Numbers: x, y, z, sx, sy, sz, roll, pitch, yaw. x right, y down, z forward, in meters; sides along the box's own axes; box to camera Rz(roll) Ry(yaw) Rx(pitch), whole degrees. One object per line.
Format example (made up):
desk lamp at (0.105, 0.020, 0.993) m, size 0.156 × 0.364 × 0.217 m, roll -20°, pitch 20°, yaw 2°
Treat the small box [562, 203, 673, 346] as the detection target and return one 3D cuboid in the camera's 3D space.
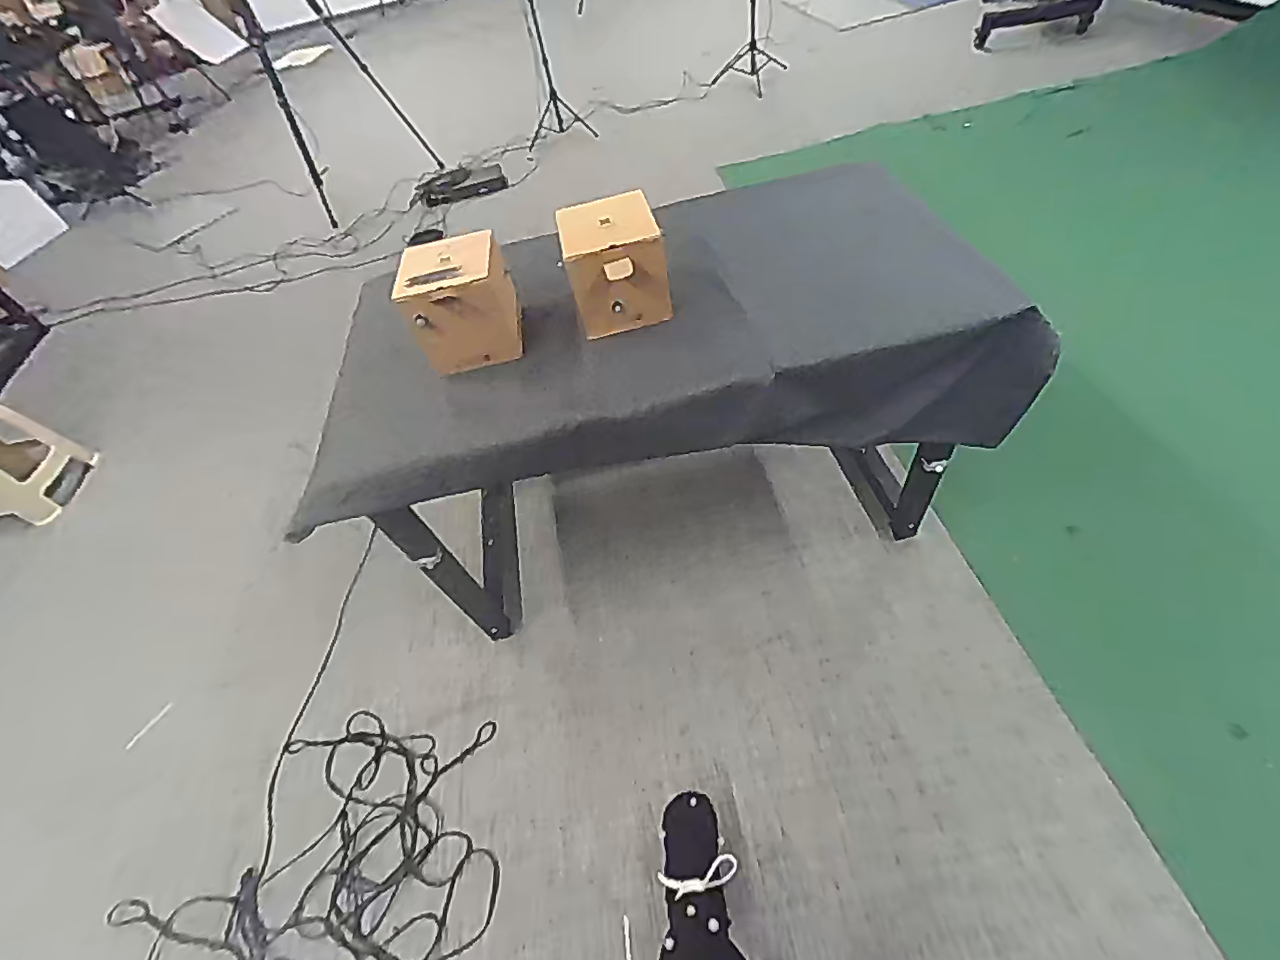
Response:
small box at (-0.040, -0.377, 1.000) m, size 0.168 × 0.176 × 0.179 m, roll -14°, pitch 51°, yaw 0°
